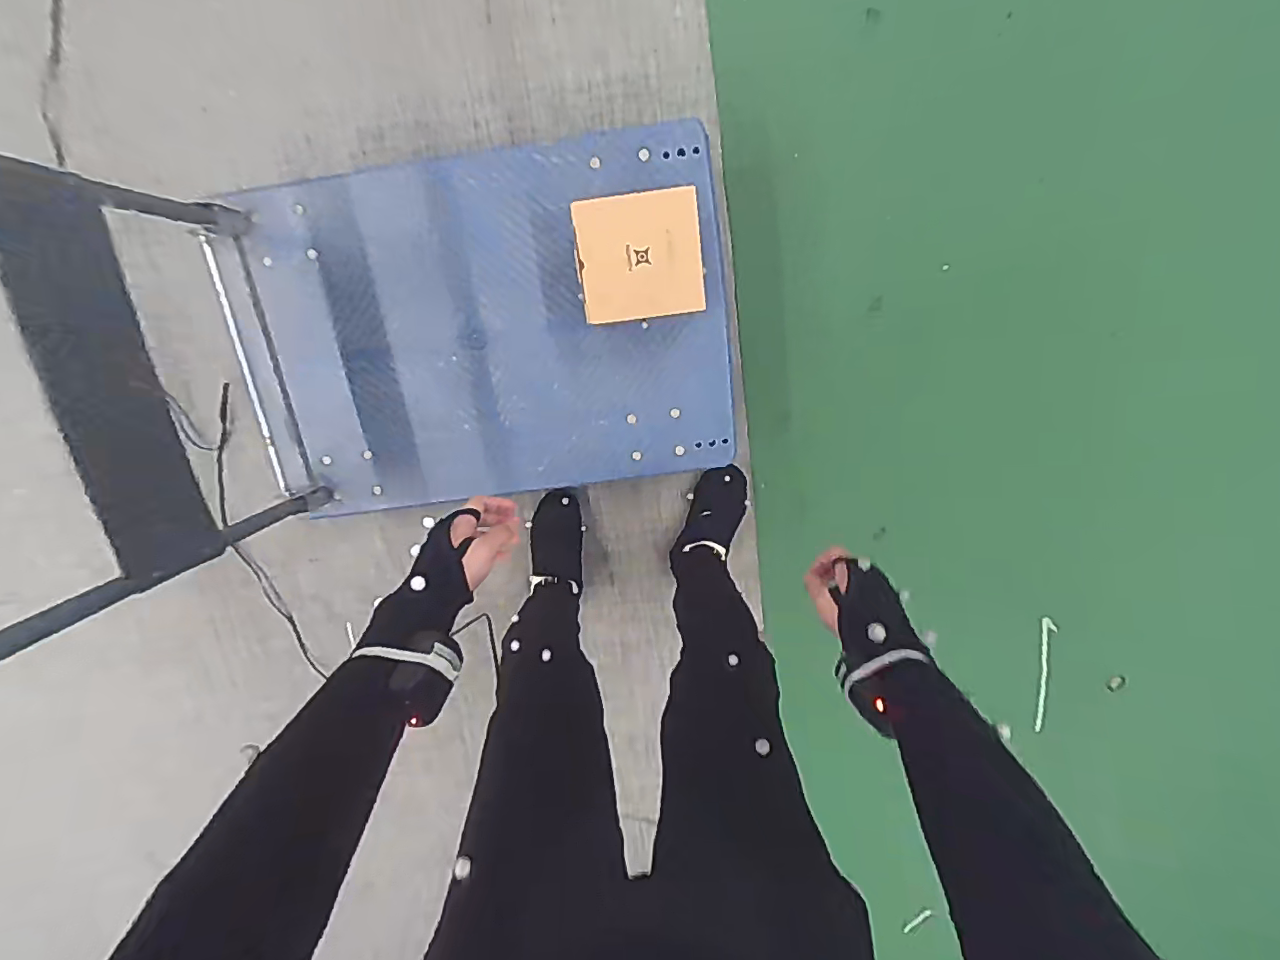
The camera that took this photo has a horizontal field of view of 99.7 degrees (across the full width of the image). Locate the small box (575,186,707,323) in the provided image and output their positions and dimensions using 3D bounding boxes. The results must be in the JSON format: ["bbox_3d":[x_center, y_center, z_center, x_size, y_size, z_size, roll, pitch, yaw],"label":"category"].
[{"bbox_3d":[0.007,-0.337,0.837,0.179,0.176,0.168,-5,106,3],"label":"small box"}]
